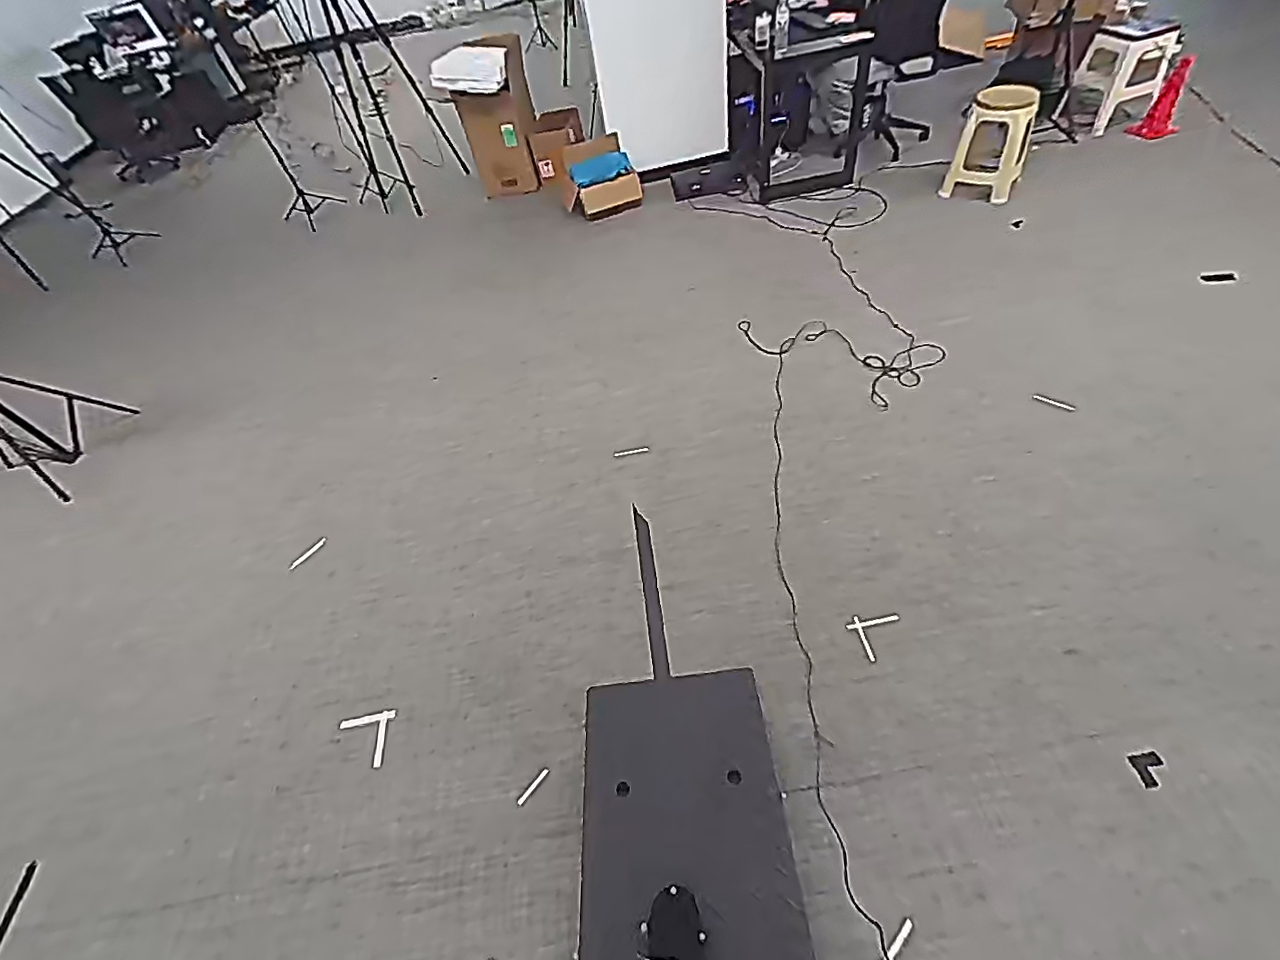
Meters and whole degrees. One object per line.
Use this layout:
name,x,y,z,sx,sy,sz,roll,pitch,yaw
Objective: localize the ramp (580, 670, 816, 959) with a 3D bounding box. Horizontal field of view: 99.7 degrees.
ramp,0.107,0.907,1.203,0.509,0.206,0.991,-11,49,4
